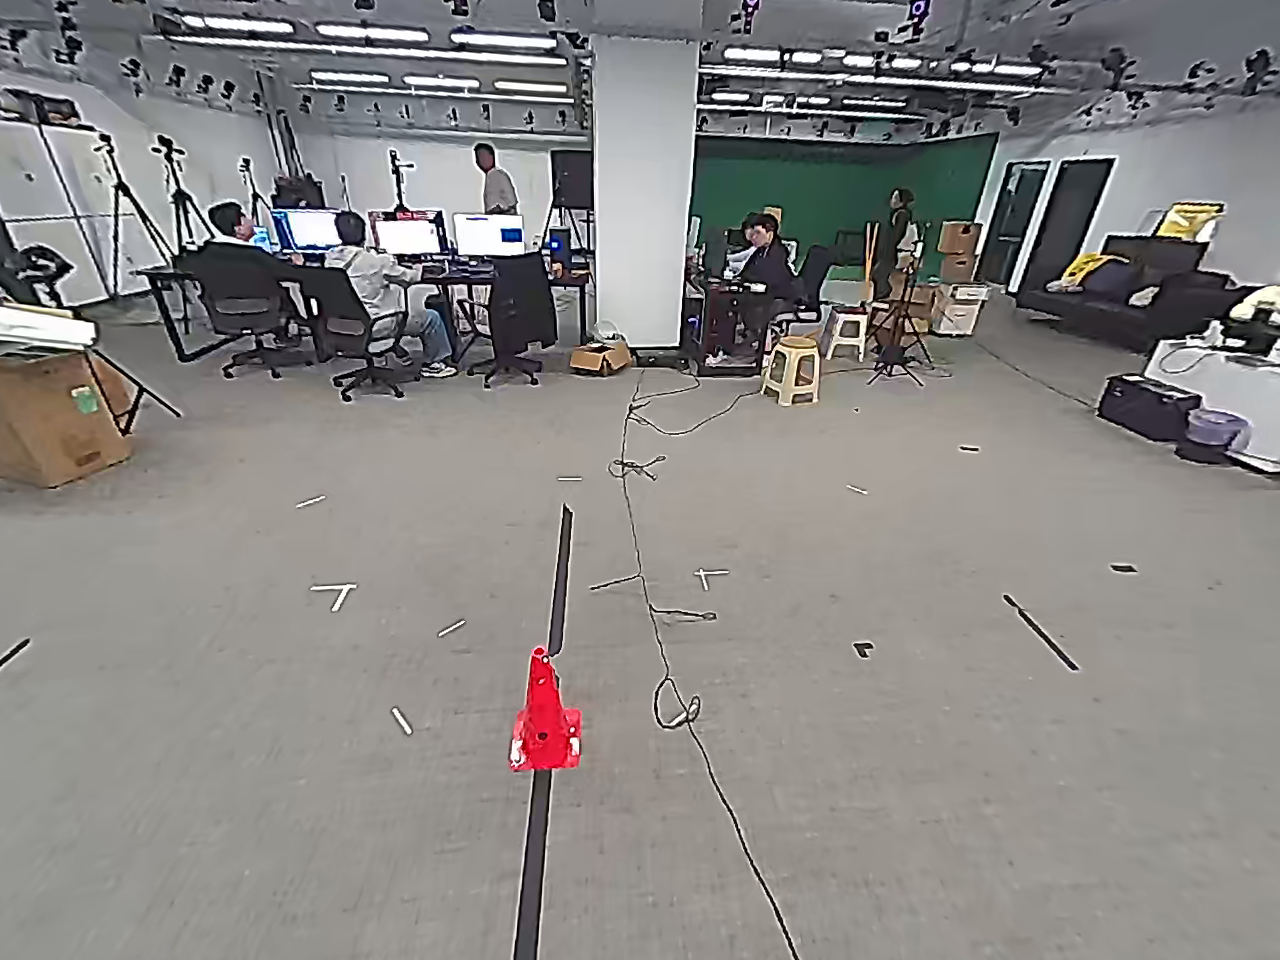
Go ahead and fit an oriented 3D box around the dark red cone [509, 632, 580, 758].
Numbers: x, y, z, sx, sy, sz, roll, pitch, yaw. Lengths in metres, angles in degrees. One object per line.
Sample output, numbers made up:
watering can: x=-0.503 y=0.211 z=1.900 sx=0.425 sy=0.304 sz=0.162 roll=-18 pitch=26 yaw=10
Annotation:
dark red cone: x=-0.272 y=0.592 z=1.526 sx=0.201 sy=0.394 sz=0.202 roll=0 pitch=28 yaw=-6
